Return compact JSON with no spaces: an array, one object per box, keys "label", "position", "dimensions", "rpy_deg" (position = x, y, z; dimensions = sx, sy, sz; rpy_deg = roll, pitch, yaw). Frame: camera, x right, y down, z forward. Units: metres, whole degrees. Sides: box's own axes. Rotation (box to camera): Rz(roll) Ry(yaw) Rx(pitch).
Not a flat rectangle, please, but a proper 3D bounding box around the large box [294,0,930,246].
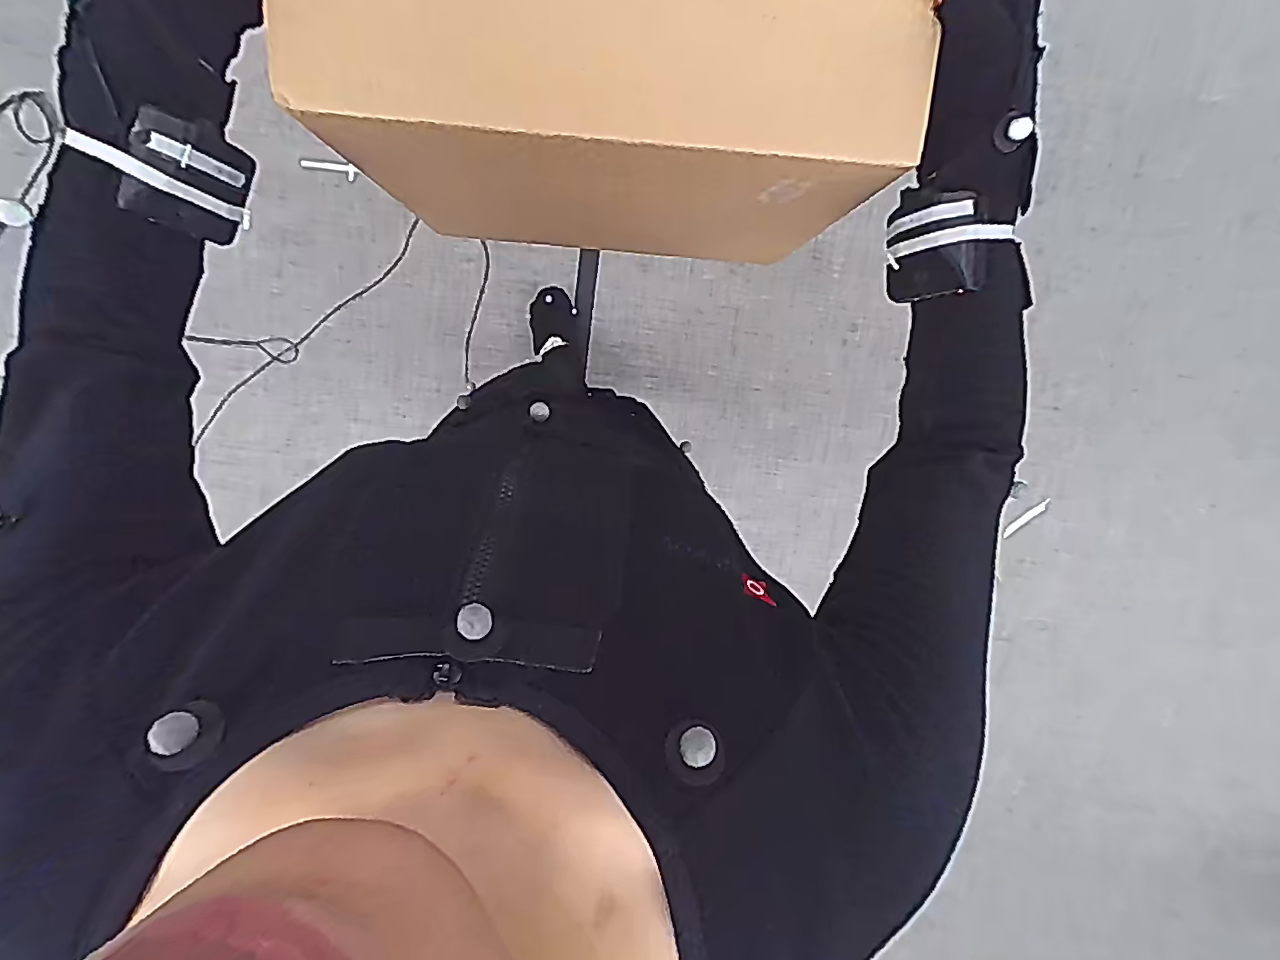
[{"label":"large box","position":[-0.018,-0.407,0.467],"dimensions":[0.408,0.320,0.320],"rpy_deg":[2,102,-4]}]
